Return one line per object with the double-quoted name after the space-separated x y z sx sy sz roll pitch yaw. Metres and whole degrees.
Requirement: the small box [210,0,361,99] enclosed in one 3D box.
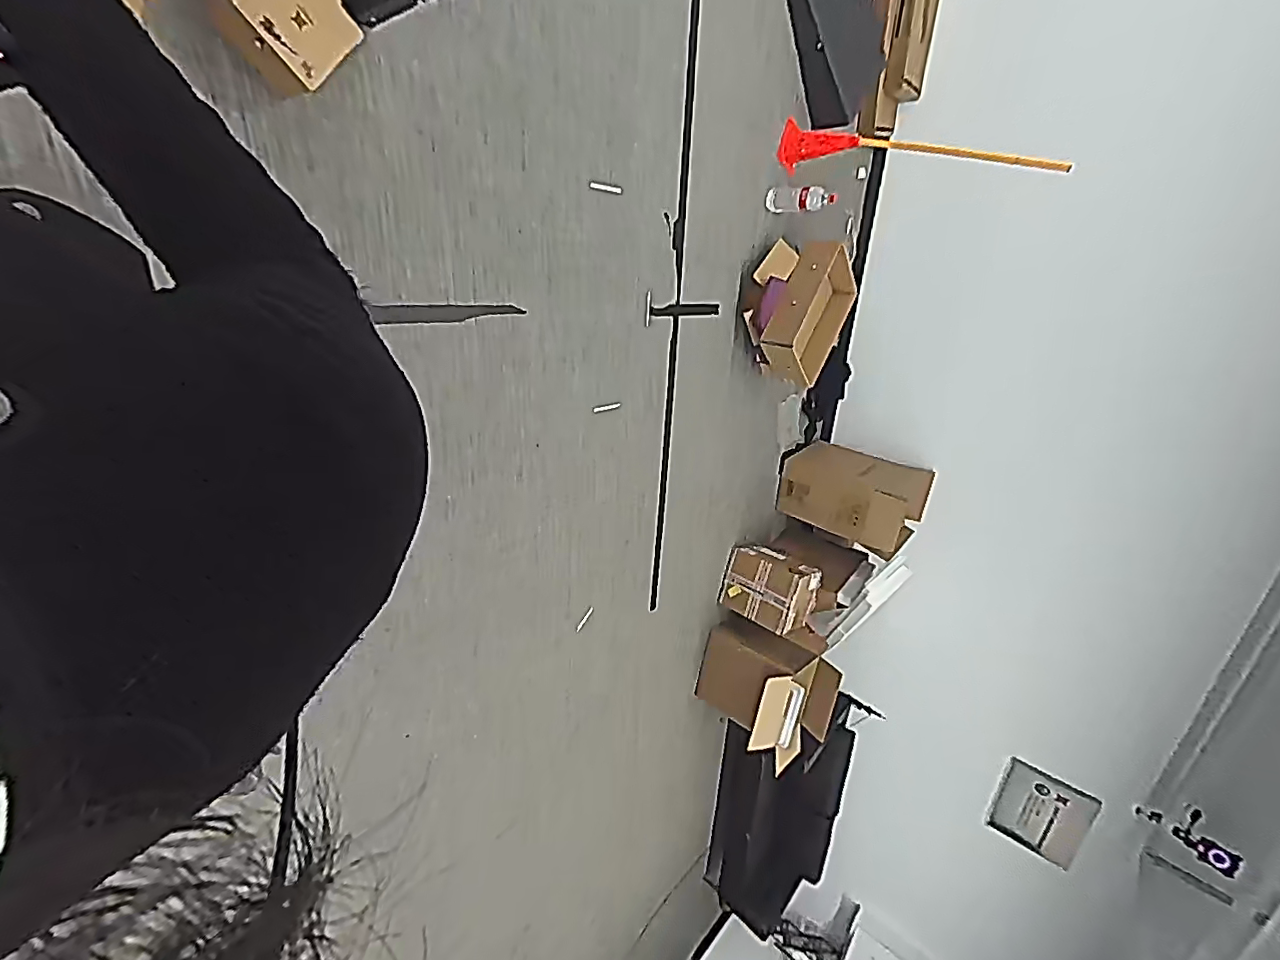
-0.710 -0.905 1.081 0.179 0.176 0.168 -59 142 -12 "small box"
